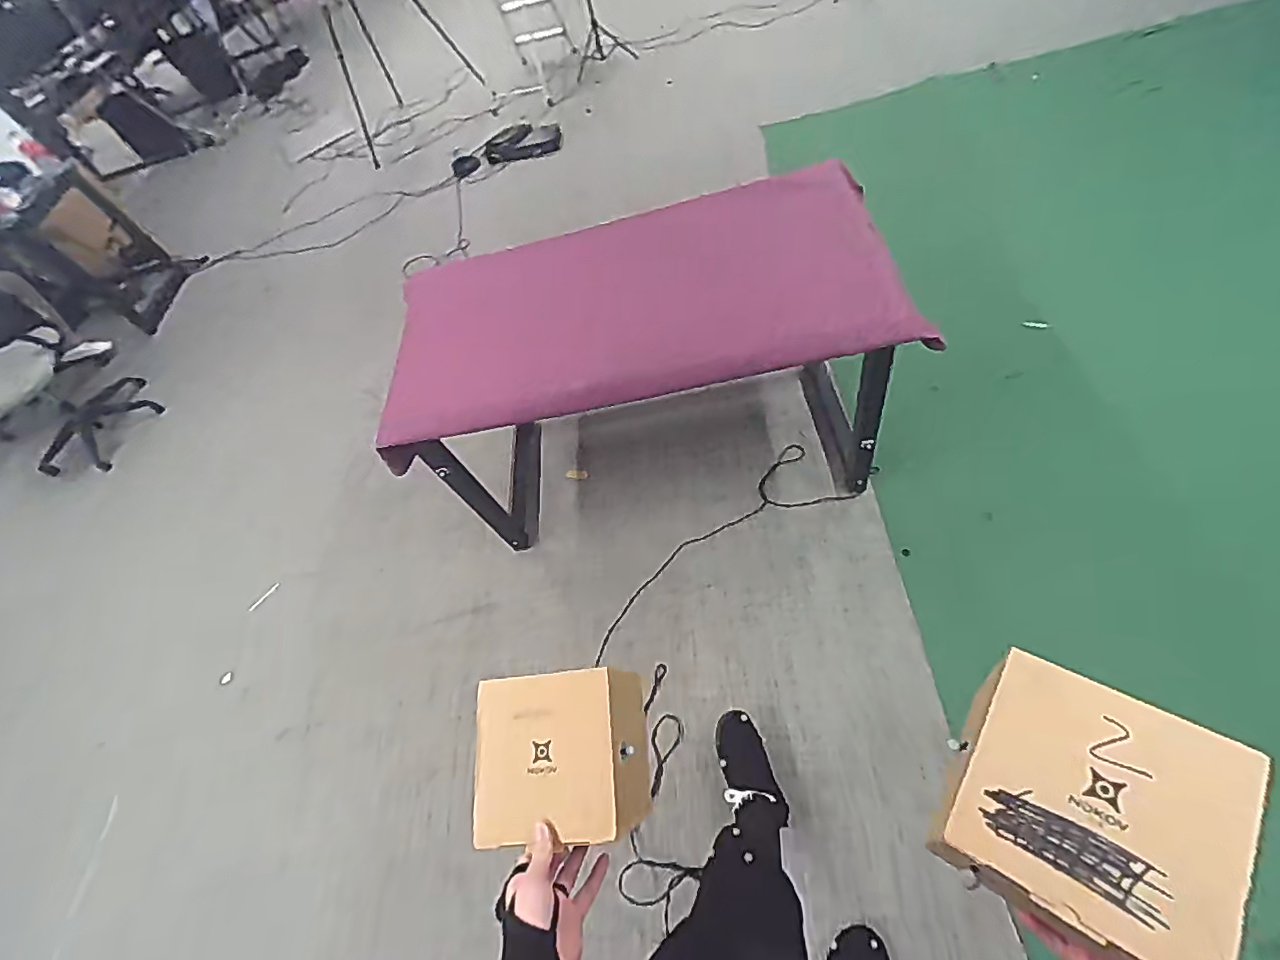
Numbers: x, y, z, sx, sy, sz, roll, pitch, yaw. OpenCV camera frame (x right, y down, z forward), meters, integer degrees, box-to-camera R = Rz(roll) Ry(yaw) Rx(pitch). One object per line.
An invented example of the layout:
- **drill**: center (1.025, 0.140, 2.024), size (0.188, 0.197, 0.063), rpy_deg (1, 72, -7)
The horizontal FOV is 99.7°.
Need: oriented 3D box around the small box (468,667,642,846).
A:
- **small box**: center (-0.097, 0.336, 0.680), size (0.168, 0.176, 0.179), rpy_deg (-9, 66, 10)
